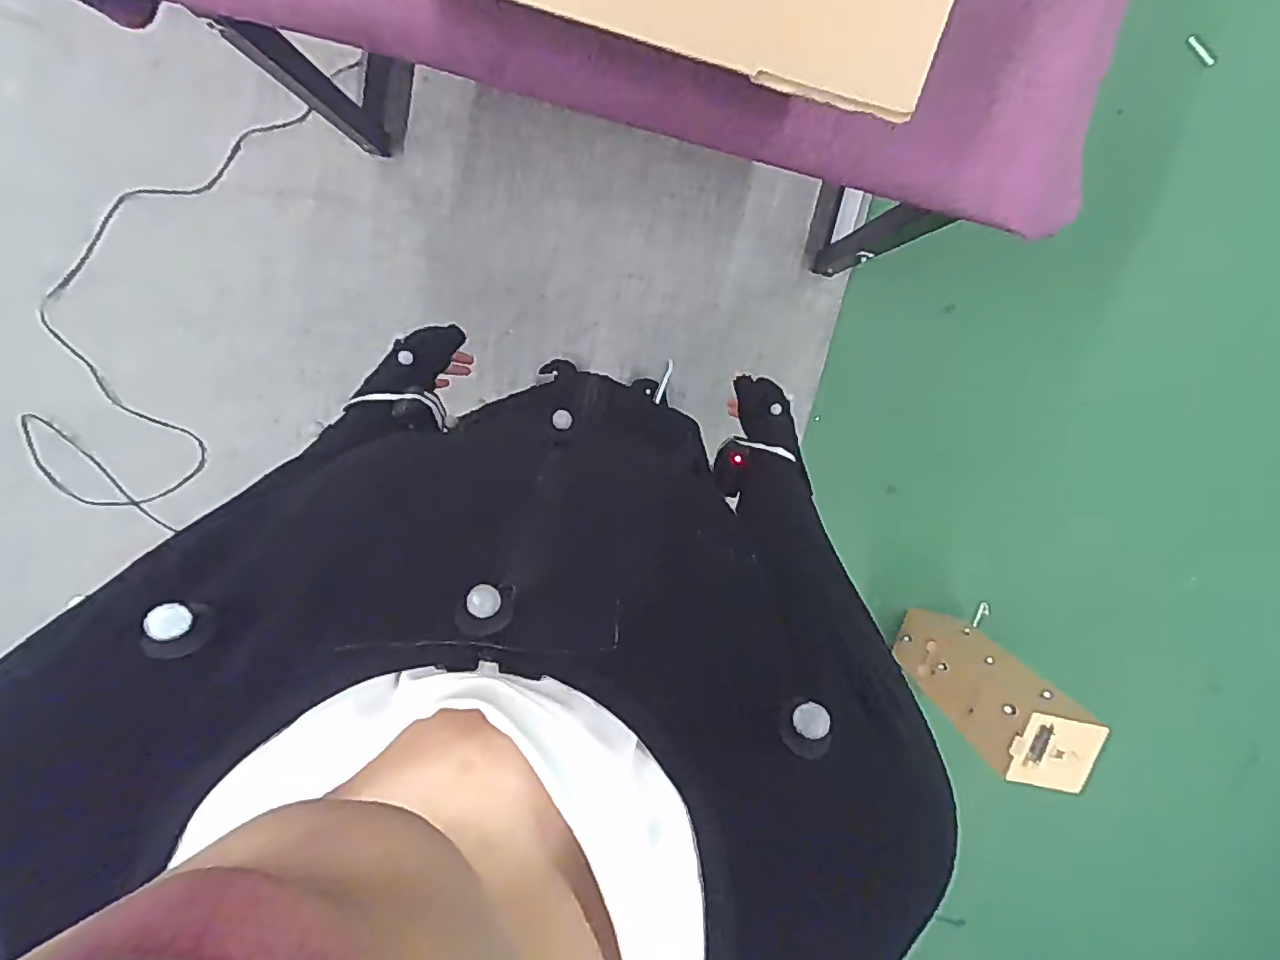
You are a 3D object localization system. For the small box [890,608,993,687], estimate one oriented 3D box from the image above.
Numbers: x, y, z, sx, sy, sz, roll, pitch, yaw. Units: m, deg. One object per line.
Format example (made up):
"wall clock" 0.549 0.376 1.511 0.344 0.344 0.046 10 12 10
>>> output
"small box" 0.849 0.483 1.529 0.179 0.176 0.168 14 102 -4

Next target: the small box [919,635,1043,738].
"small box" 0.853 0.516 1.370 0.179 0.176 0.168 13 102 -3
